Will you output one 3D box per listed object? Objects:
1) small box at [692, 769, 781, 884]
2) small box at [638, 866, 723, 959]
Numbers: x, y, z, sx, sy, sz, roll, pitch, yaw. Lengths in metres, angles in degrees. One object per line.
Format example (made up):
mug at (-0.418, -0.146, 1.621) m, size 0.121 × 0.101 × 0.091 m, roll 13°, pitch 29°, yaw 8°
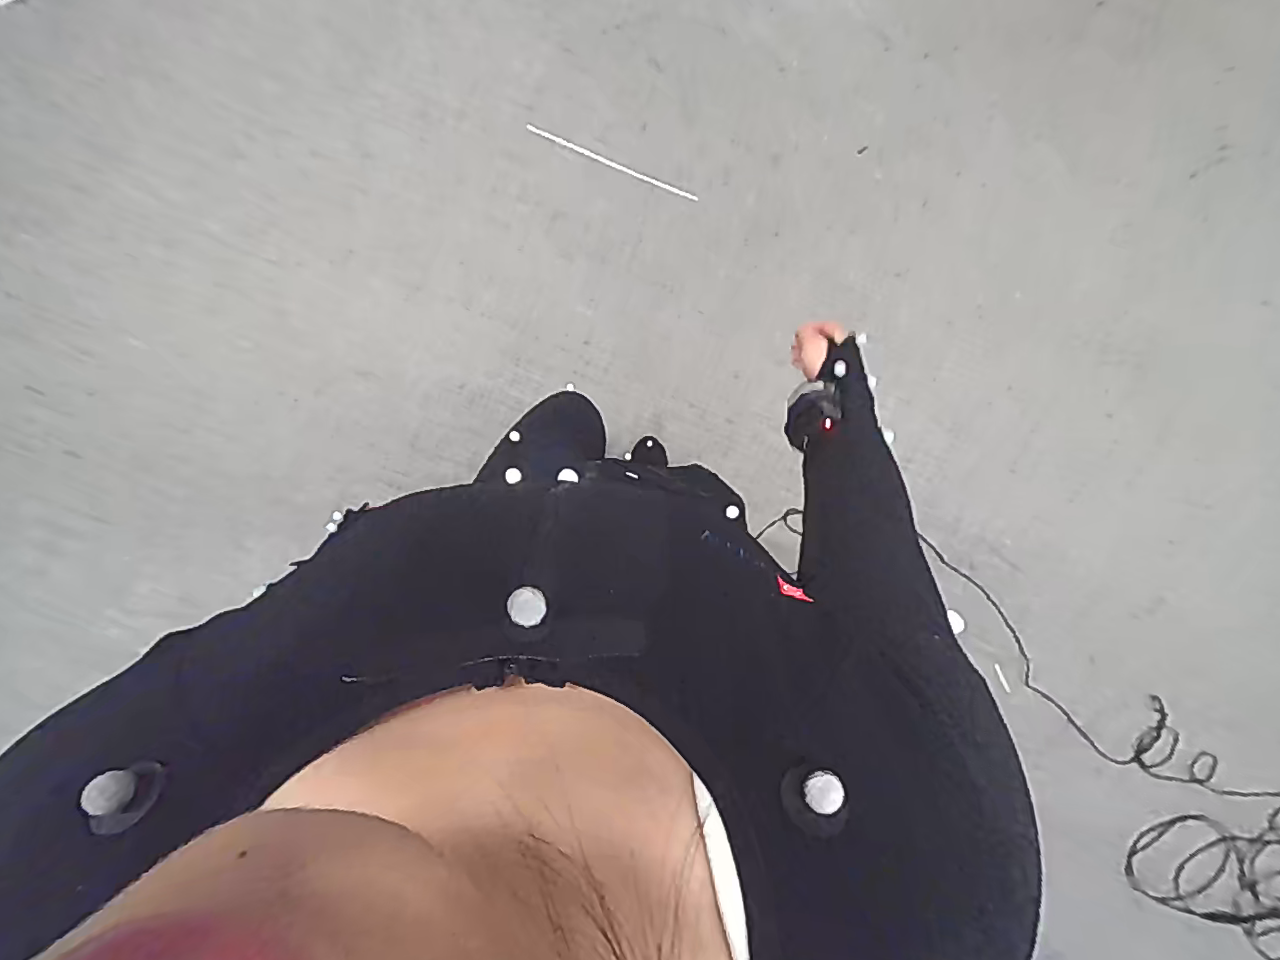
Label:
small box at (0.259, 0.959, 1.513) m, size 0.168 × 0.176 × 0.179 m, roll 35°, pitch 95°, yaw -3°
small box at (0.112, 1.272, 1.548) m, size 0.168 × 0.176 × 0.179 m, roll 43°, pitch 93°, yaw -5°
